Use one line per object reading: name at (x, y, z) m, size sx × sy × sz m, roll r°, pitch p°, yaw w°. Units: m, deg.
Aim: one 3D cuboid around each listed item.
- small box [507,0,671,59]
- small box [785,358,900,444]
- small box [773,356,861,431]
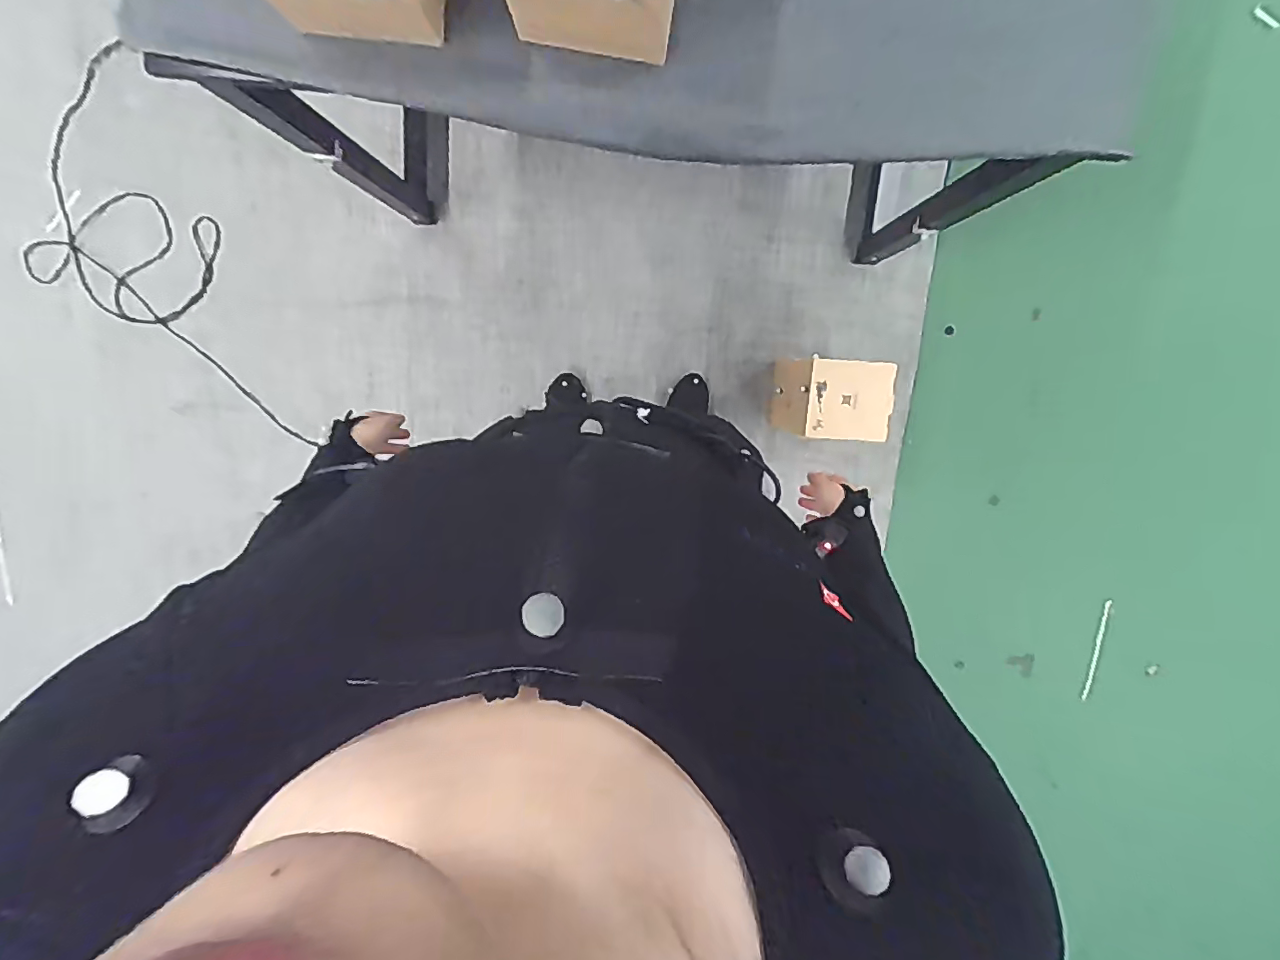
small box at (-0.045, -0.572, 0.547) m, size 0.179 × 0.176 × 0.168 m, roll 10°, pitch 99°, yaw 0°
small box at (0.436, -0.179, 1.192) m, size 0.179 × 0.176 × 0.168 m, roll 5°, pitch 102°, yaw 0°
small box at (0.435, -0.214, 1.353) m, size 0.168 × 0.176 × 0.179 m, roll 3°, pitch 100°, yaw 0°
